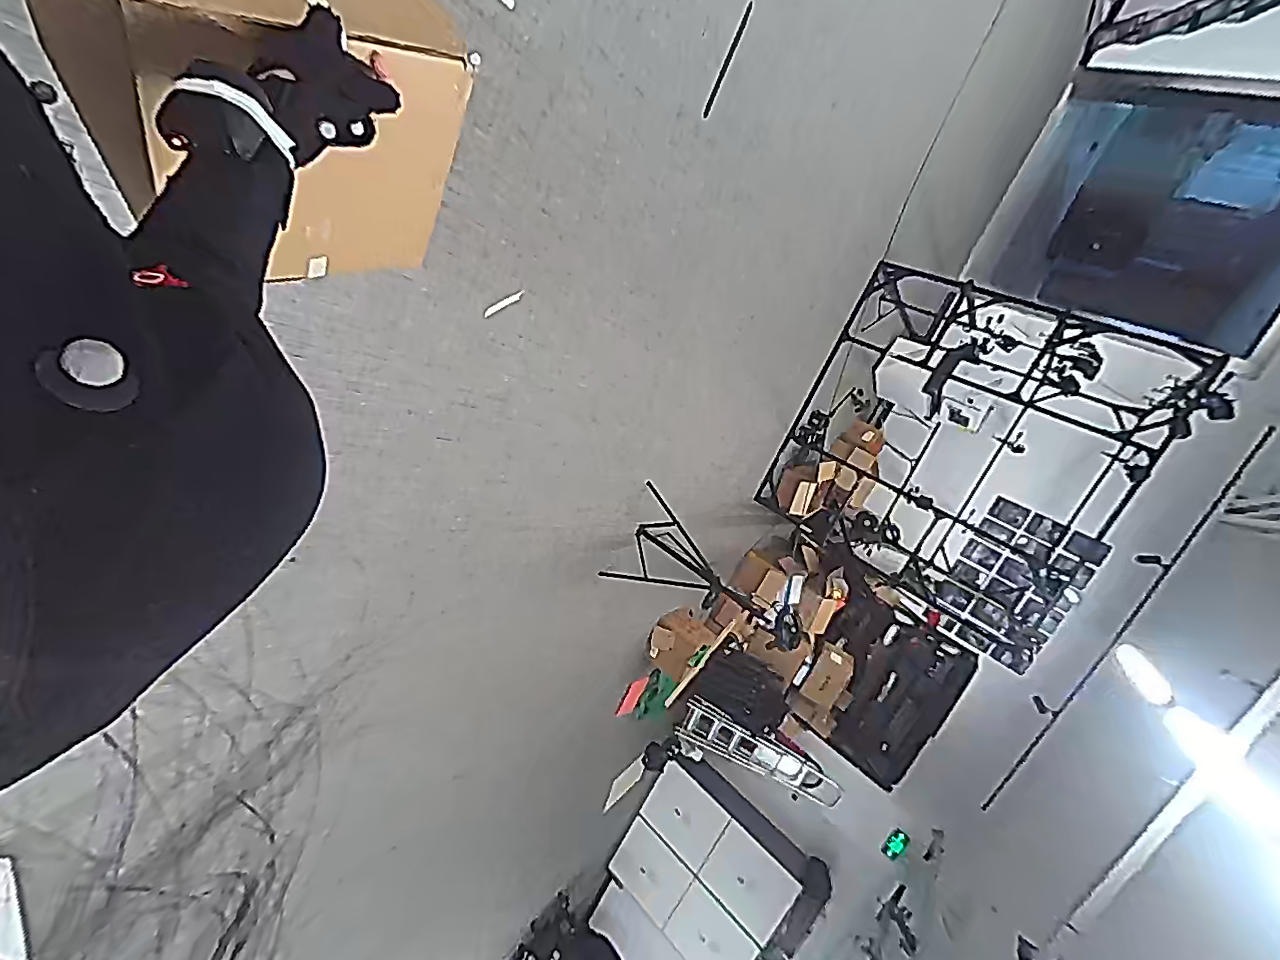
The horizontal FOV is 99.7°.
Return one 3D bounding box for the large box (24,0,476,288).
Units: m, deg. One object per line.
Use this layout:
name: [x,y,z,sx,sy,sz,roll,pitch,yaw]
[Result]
large box: [-0.472,-0.506,0.648,0.320,0.408,0.320,-28,172,-40]
